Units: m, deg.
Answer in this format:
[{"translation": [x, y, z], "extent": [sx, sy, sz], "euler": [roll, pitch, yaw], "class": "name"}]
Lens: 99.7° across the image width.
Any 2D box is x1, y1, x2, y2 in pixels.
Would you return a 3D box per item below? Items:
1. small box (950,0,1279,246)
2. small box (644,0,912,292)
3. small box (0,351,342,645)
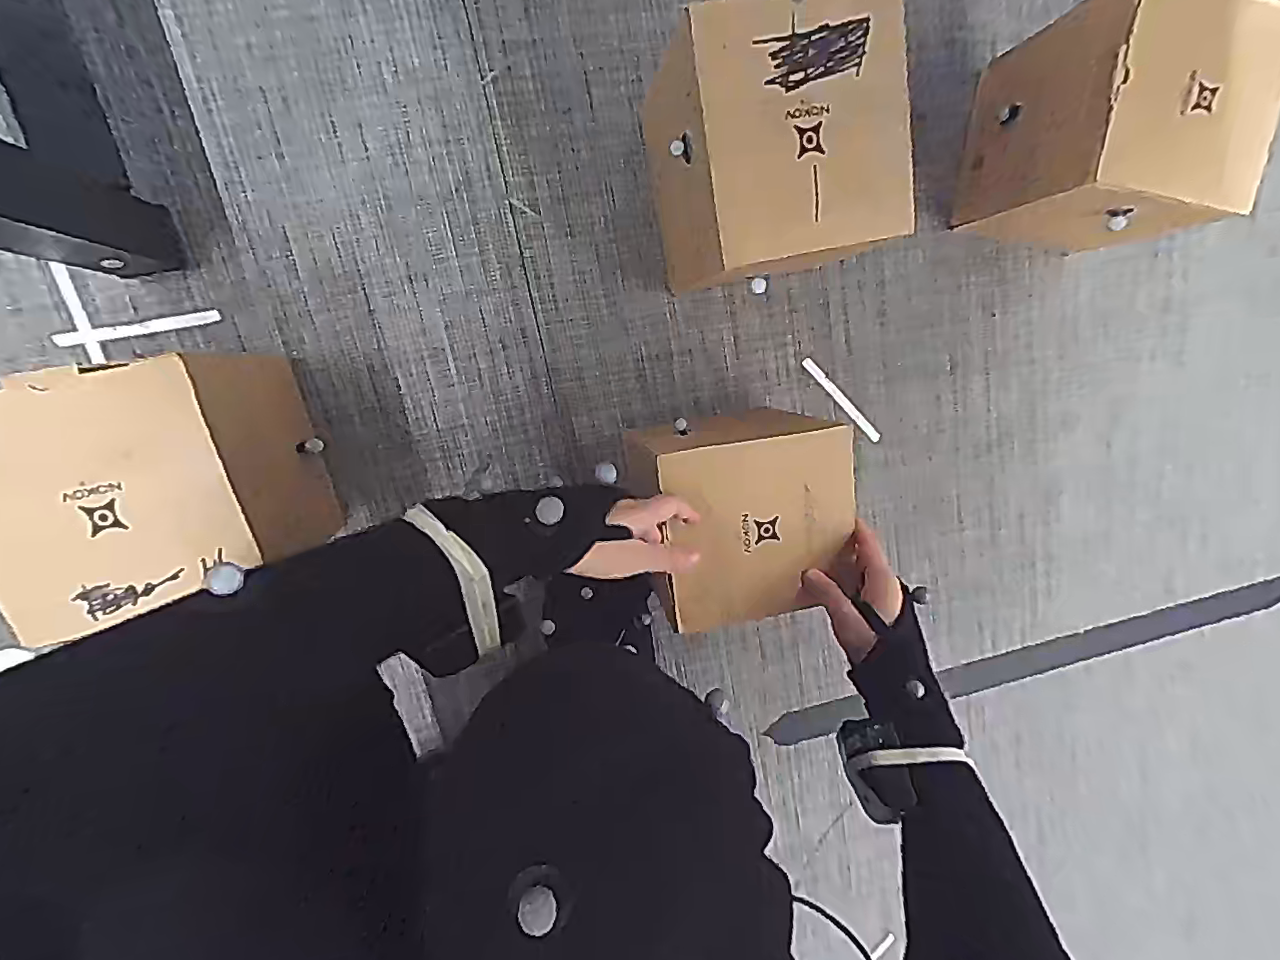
[{"translation": [0.455, -0.342, 0.536], "extent": [0.179, 0.176, 0.168], "euler": [4, 101, -11], "class": "small box"}, {"translation": [0.109, -0.279, 0.479], "extent": [0.168, 0.176, 0.179], "euler": [-14, 104, -8], "class": "small box"}, {"translation": [-0.376, 0.001, 0.442], "extent": [0.168, 0.176, 0.179], "euler": [-13, 102, -9], "class": "small box"}]
